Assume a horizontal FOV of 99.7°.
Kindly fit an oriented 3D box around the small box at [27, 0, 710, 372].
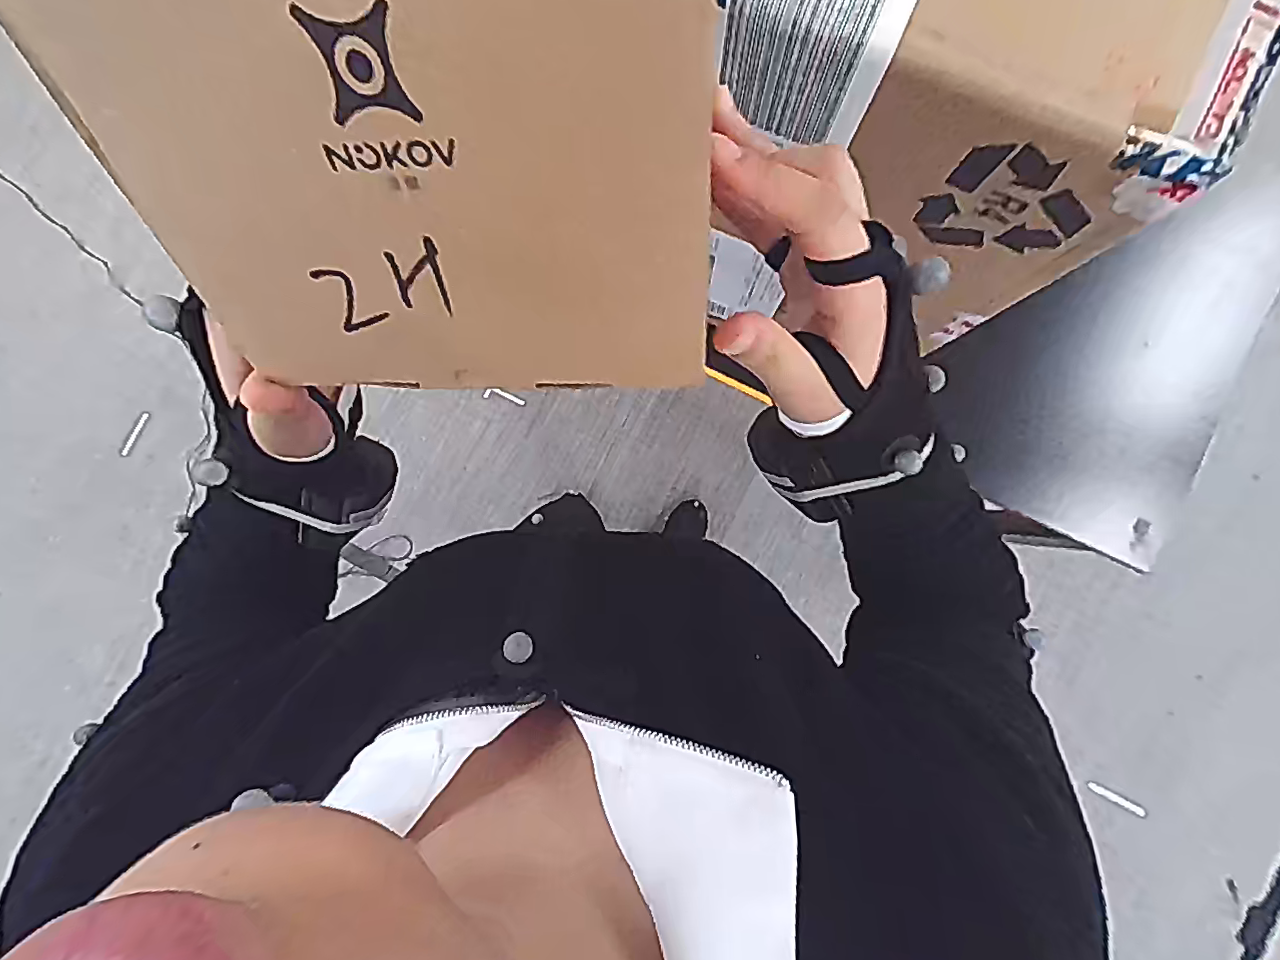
[{"bbox_3d":[-0.059,-0.159,0.194,0.168,0.179,0.176,2,47,6],"label":"small box"}]
